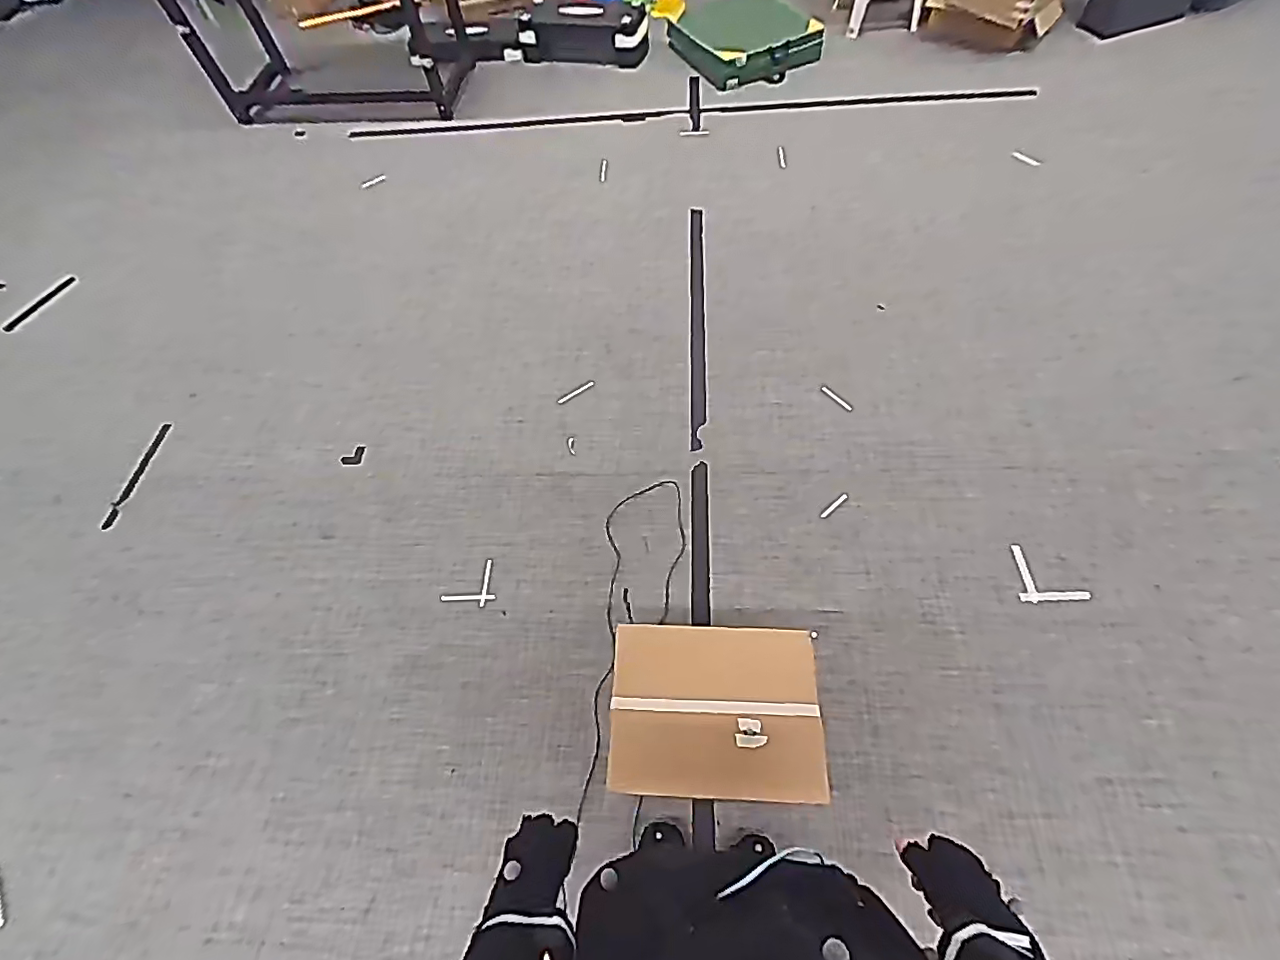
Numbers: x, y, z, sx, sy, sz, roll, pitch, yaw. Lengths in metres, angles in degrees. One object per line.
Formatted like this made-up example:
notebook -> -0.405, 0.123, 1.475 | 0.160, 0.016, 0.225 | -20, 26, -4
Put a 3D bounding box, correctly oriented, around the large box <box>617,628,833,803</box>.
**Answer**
large box -> 0.163, 0.526, 1.189 | 0.408, 0.320, 0.320 | 1, 60, 3
